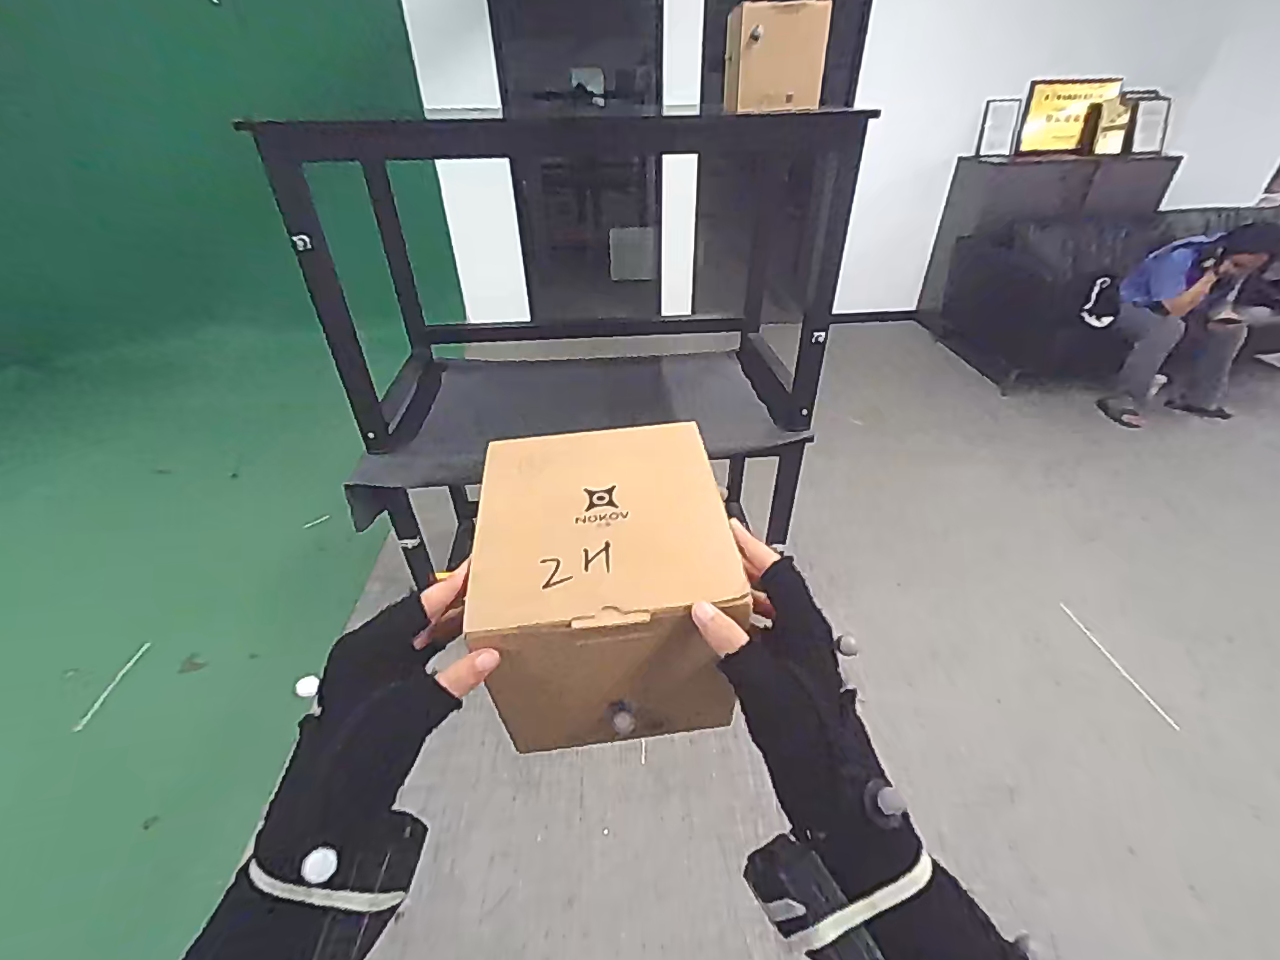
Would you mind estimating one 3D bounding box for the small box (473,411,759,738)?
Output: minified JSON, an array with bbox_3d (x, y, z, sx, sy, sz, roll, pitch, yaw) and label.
[{"bbox_3d":[-0.018,0.069,0.418,0.168,0.176,0.179,-7,42,-3],"label":"small box"}]
